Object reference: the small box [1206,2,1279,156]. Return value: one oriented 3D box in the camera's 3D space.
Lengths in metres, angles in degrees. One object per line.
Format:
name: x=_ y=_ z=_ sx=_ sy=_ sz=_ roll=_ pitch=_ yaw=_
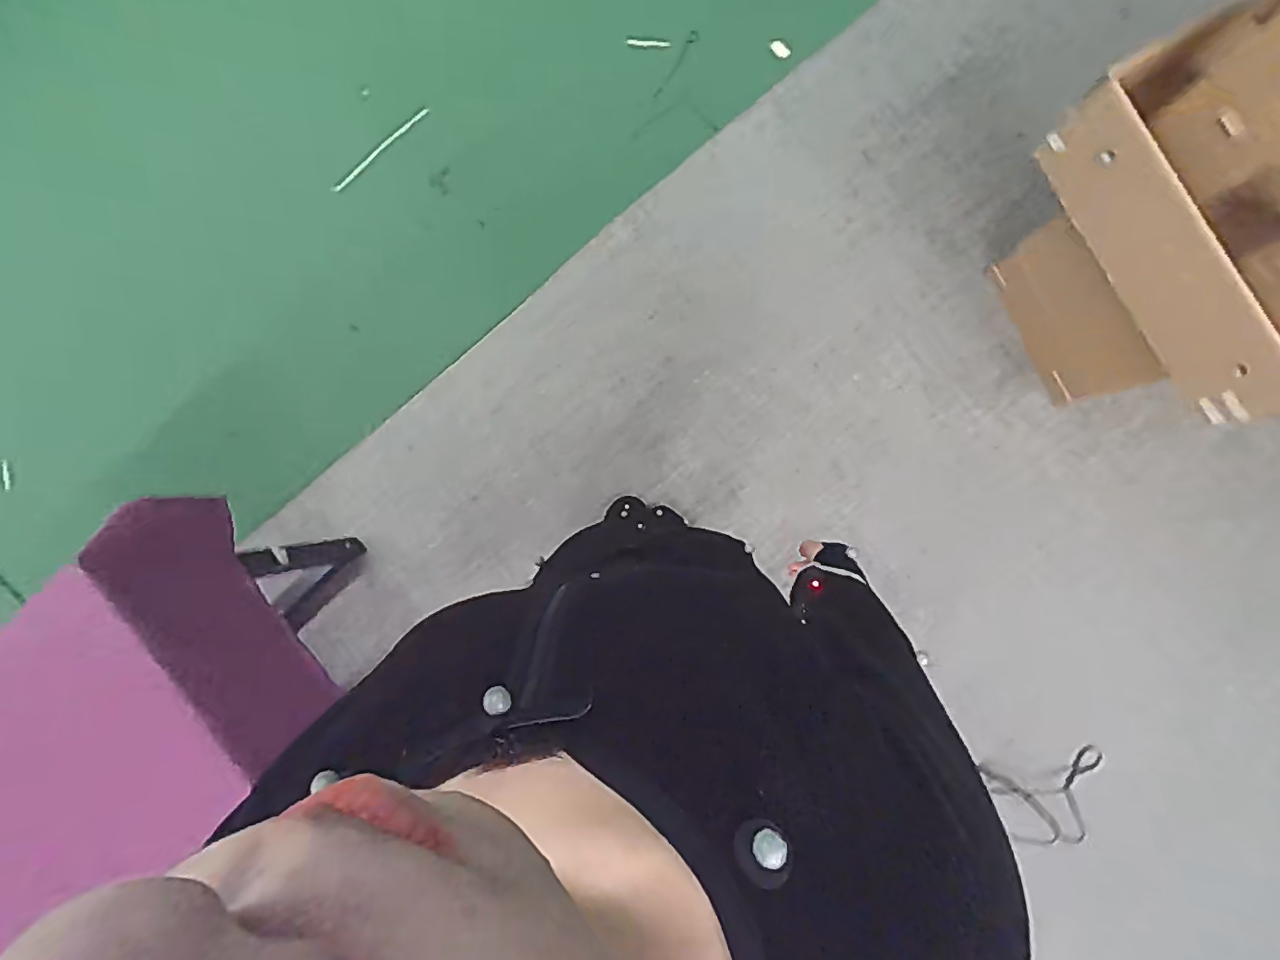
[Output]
small box: x=0.940 y=-0.587 z=0.721 sx=0.168 sy=0.176 sz=0.179 roll=-29 pitch=88 yaw=4
